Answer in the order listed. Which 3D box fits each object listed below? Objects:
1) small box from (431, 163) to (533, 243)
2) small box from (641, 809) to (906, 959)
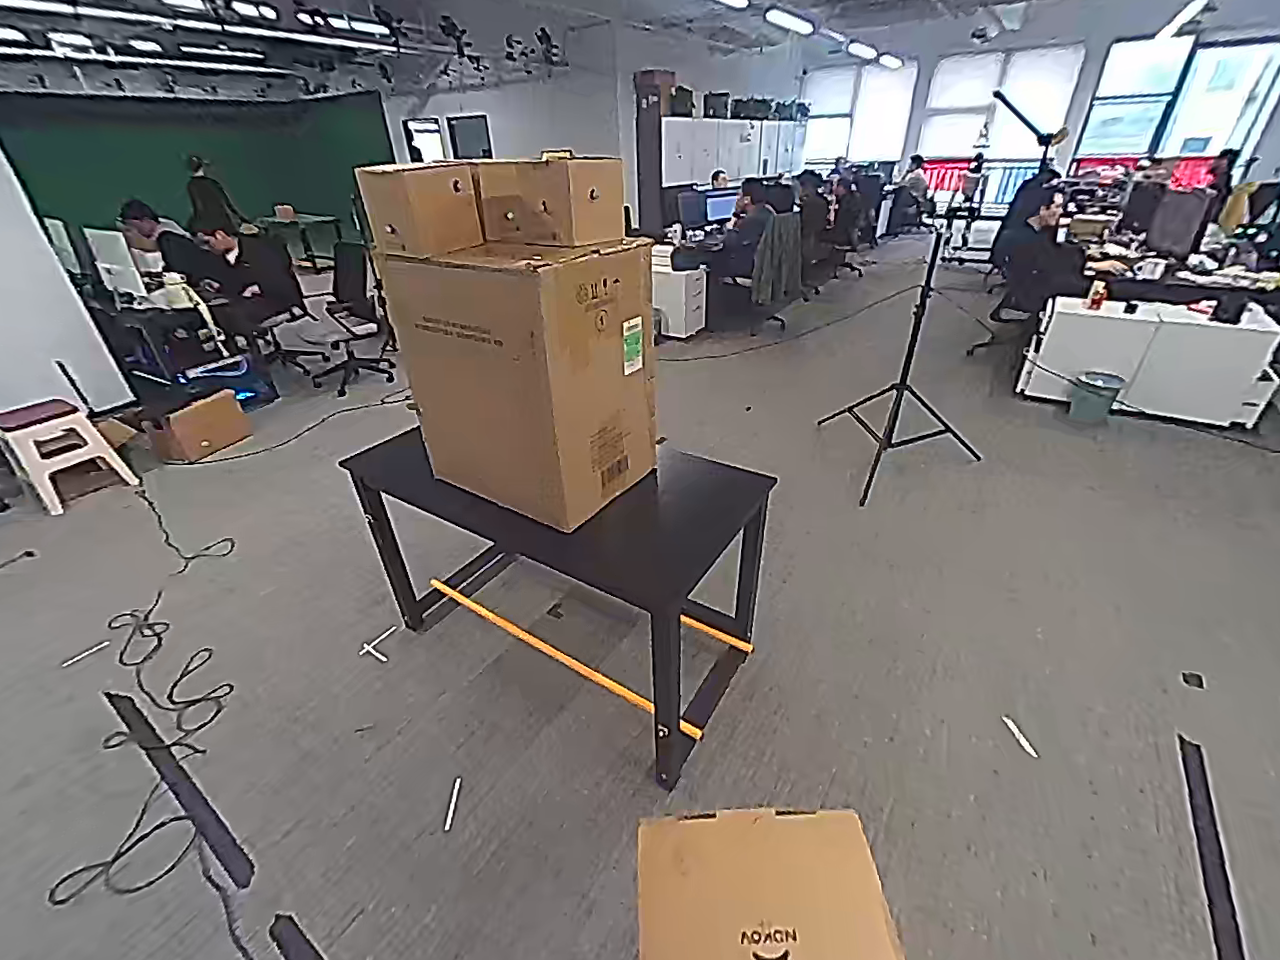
[{"bbox_3d":[-0.390,-0.694,1.354,0.179,0.176,0.168,19,37,29],"label":"small box"},{"bbox_3d":[0.084,0.362,0.380,0.168,0.176,0.179,-2,37,0],"label":"small box"}]
